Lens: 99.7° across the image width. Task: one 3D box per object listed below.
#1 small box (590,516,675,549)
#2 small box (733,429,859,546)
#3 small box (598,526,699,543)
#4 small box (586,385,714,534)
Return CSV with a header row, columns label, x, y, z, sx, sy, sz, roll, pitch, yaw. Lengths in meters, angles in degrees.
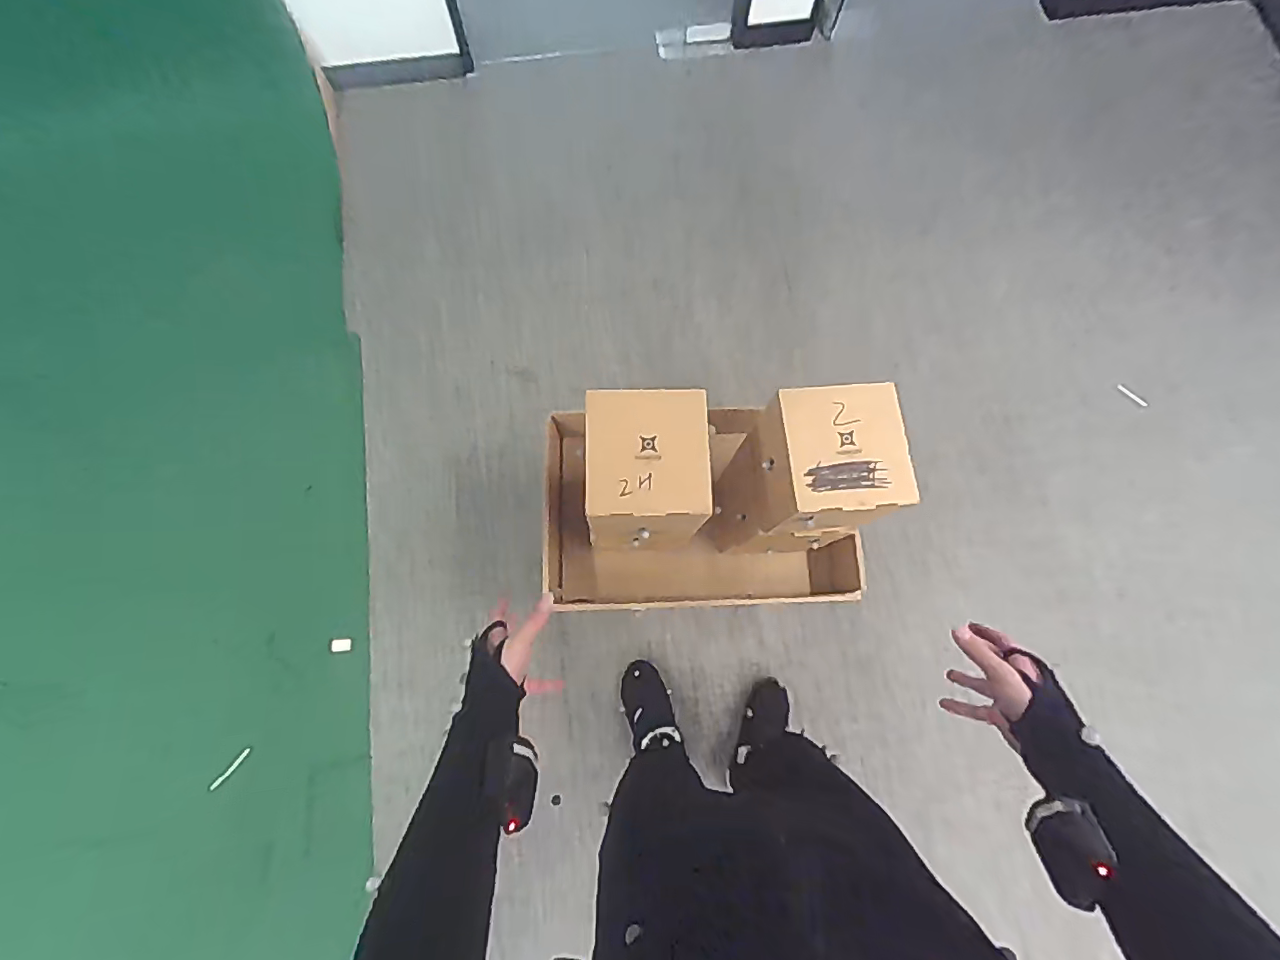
label,x,y,z,sx,sy,sz,roll,pitch,yaw
small box,-0.008,0.050,1.100,0.179,0.176,0.168,0,76,-2
small box,0.261,0.021,0.943,0.168,0.176,0.179,0,75,-3
small box,0.007,0.012,0.941,0.168,0.176,0.179,0,76,-2
small box,0.009,-0.022,0.780,0.168,0.176,0.179,0,76,-2
